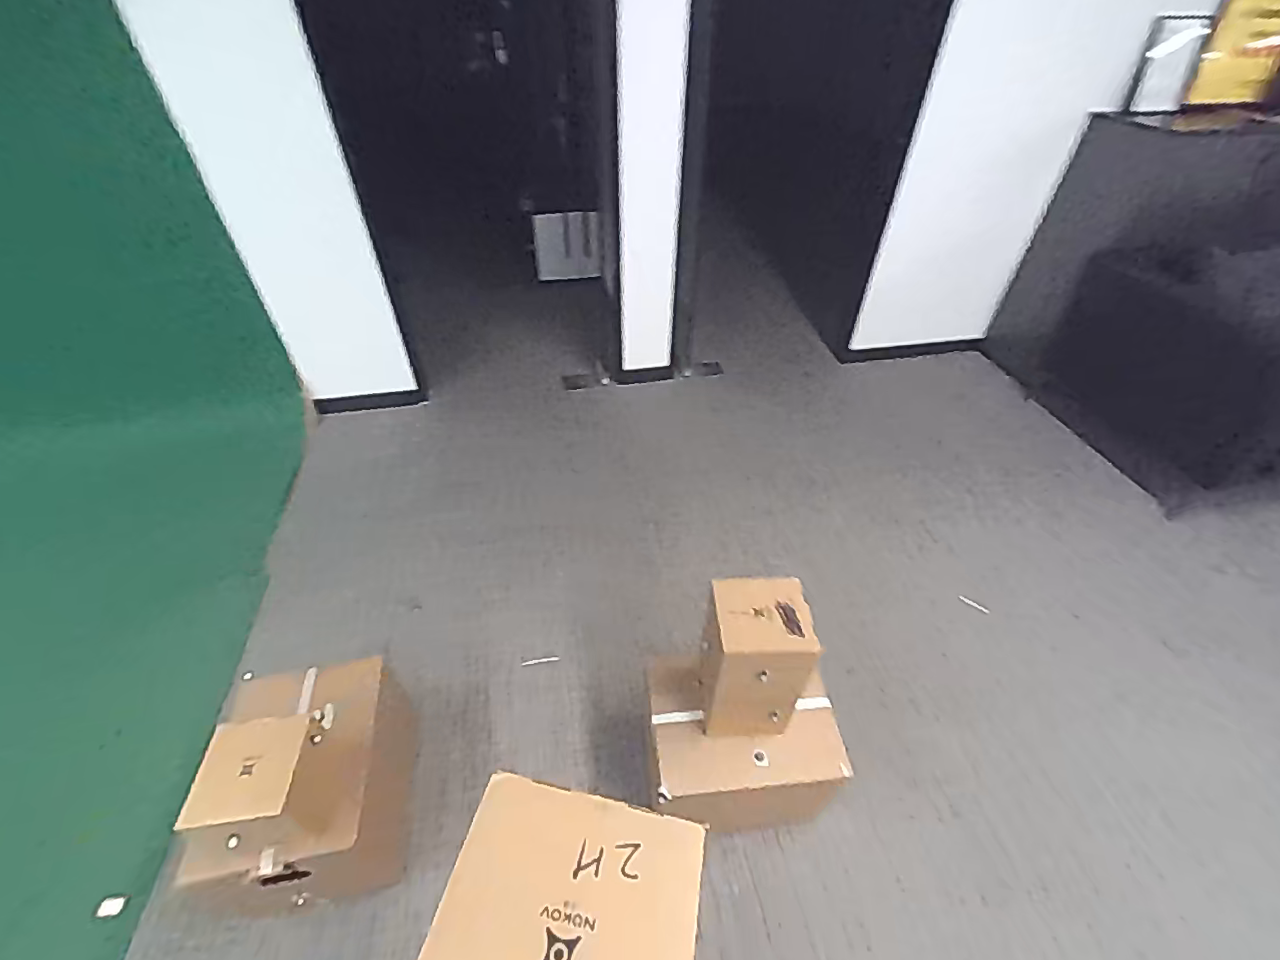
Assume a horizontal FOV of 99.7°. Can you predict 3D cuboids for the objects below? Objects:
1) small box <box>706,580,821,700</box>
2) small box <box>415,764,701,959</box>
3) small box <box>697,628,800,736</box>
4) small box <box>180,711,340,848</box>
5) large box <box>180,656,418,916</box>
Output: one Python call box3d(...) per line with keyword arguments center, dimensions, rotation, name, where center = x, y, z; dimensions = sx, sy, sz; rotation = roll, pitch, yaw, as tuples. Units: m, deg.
box3d(center=(0.230, 0.313, 1.056), dimensions=(0.179, 0.176, 0.168), rotation=(-1, 40, -1), name="small box")
box3d(center=(-0.060, 0.351, 0.391), dimensions=(0.168, 0.176, 0.179), rotation=(14, 36, 4), name="small box")
box3d(center=(0.225, 0.434, 1.166), dimensions=(0.179, 0.176, 0.168), rotation=(-1, 41, -2), name="small box")
box3d(center=(-0.688, 0.562, 1.009), dimensions=(0.168, 0.176, 0.179), rotation=(-4, 42, -7), name="small box")
box3d(center=(-0.723, 0.686, 1.236), dimensions=(0.320, 0.320, 0.408), rotation=(-7, 43, -9), name="large box")
